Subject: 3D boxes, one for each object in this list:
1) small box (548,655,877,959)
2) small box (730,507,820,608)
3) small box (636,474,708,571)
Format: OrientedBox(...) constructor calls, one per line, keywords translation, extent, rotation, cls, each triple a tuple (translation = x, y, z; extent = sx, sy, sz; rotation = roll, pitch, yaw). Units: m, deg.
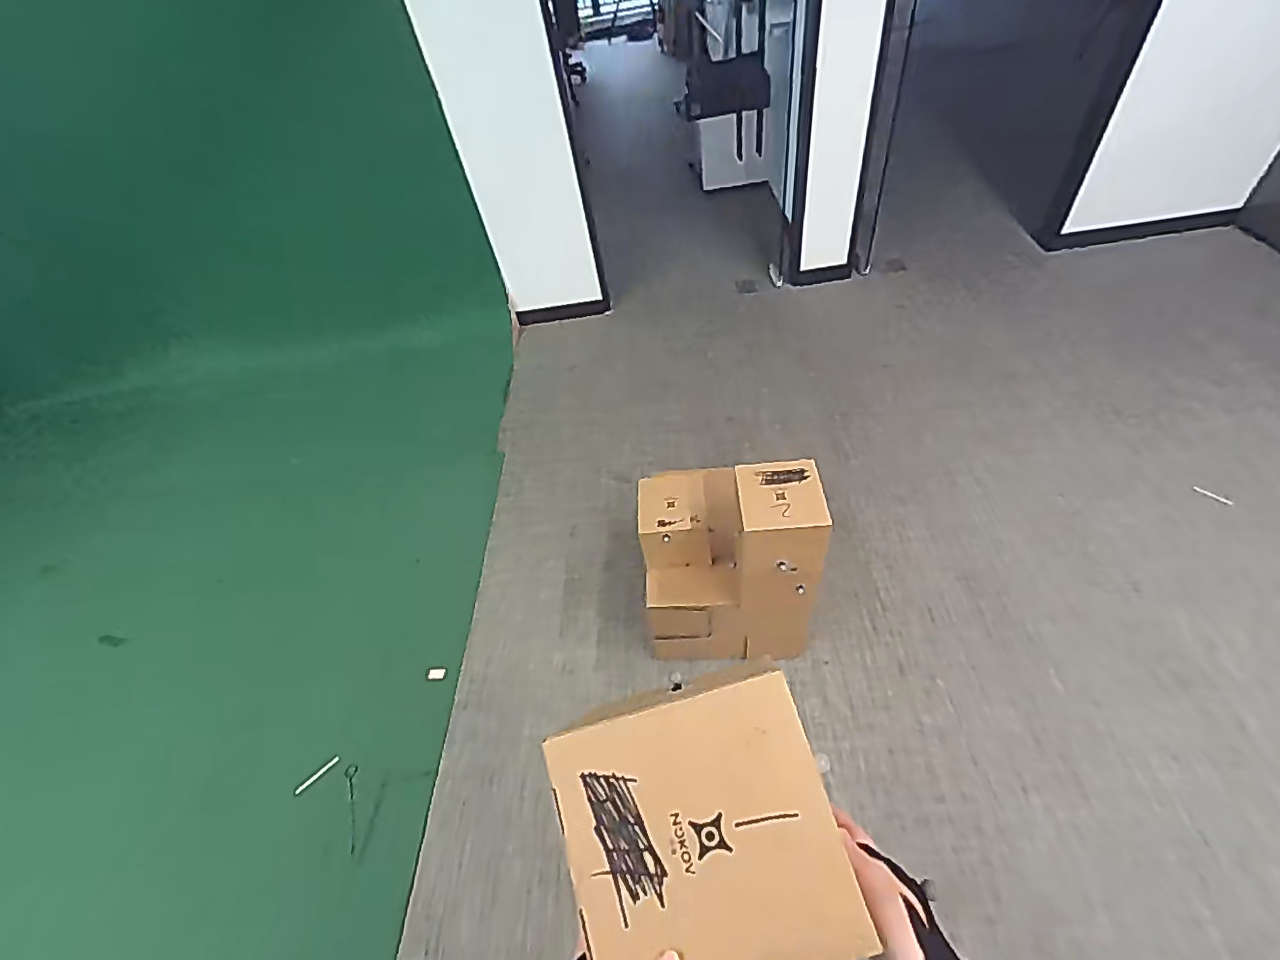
OrientedBox(translation=(0.051, 0.244, 0.424), extent=(0.179, 0.176, 0.168), rotation=(-19, 73, 3), cls="small box")
OrientedBox(translation=(0.305, 0.183, 1.256), extent=(0.179, 0.176, 0.168), rotation=(-6, 47, 5), cls="small box")
OrientedBox(translation=(0.082, 0.109, 1.366), extent=(0.168, 0.176, 0.179), rotation=(-6, 46, 6), cls="small box")
